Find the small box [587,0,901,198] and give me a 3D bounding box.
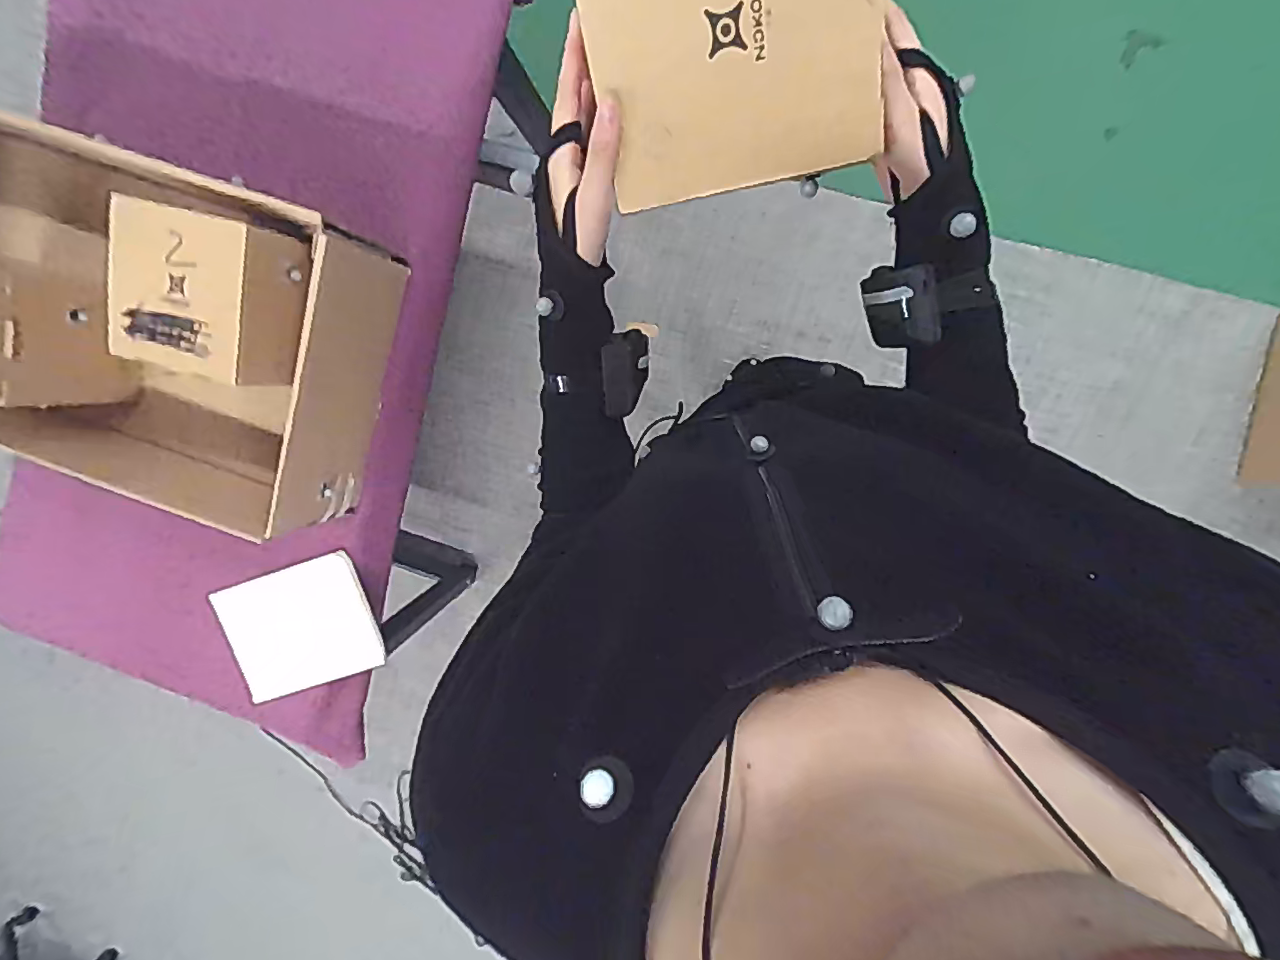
[{"bbox_3d":[0.058,-0.303,0.376,0.179,0.176,0.168,-11,117,3],"label":"small box"}]
